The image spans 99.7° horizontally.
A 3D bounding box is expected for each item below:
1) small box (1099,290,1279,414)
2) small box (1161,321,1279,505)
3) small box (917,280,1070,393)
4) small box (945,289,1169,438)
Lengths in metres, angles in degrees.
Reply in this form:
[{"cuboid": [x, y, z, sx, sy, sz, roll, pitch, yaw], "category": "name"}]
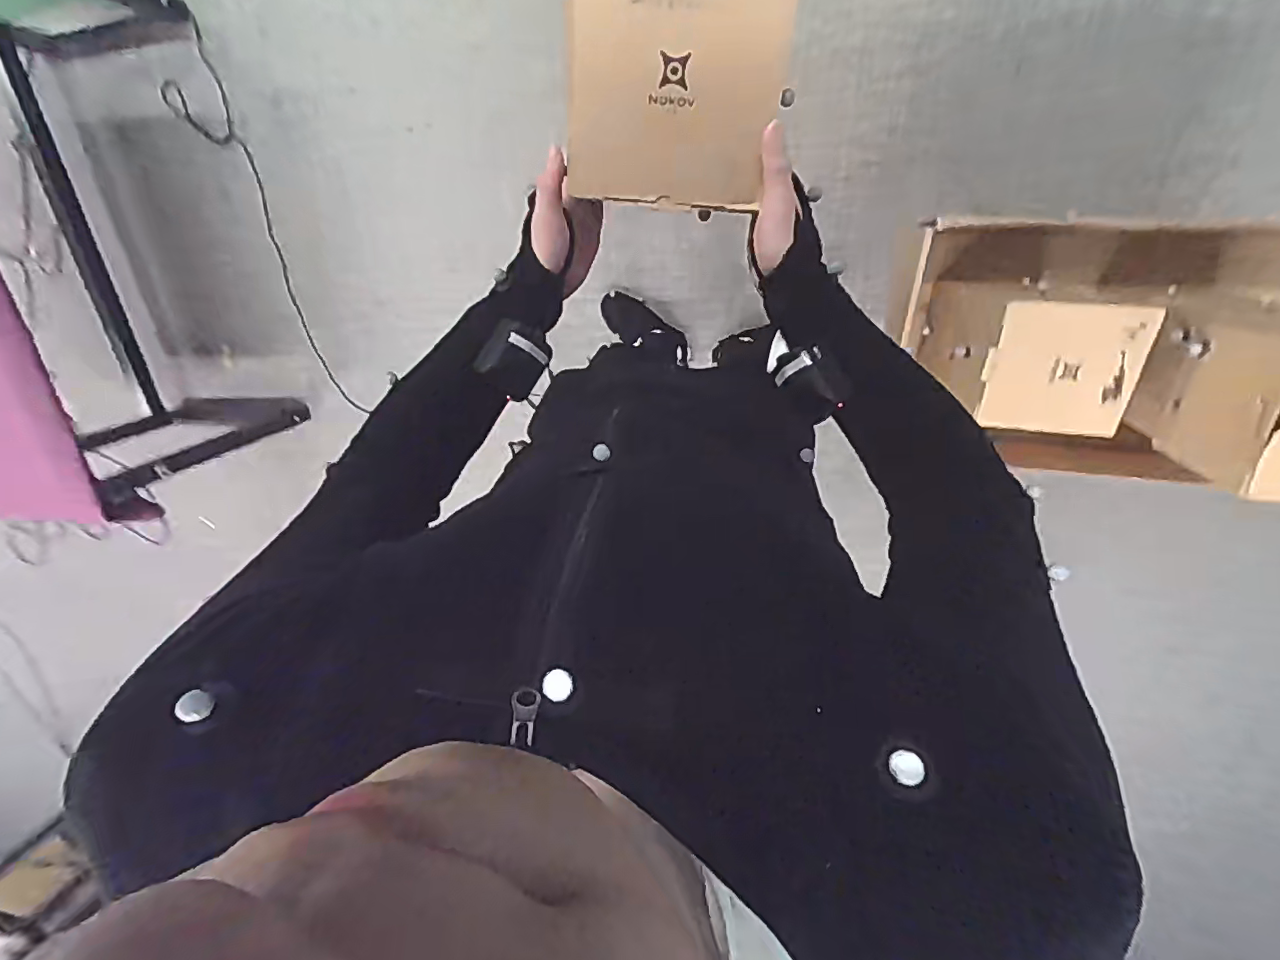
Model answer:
[{"cuboid": [0.844, -0.208, 0.867, 0.179, 0.176, 0.168, 8, 116, 14], "category": "small box"}, {"cuboid": [0.735, -0.075, 0.586, 0.179, 0.176, 0.168, 5, 116, 14], "category": "small box"}, {"cuboid": [0.595, -0.239, 0.907, 0.179, 0.176, 0.168, 7, 115, 9], "category": "small box"}, {"cuboid": [0.560, -0.172, 0.763, 0.179, 0.176, 0.168, 8, 116, 10], "category": "small box"}]
